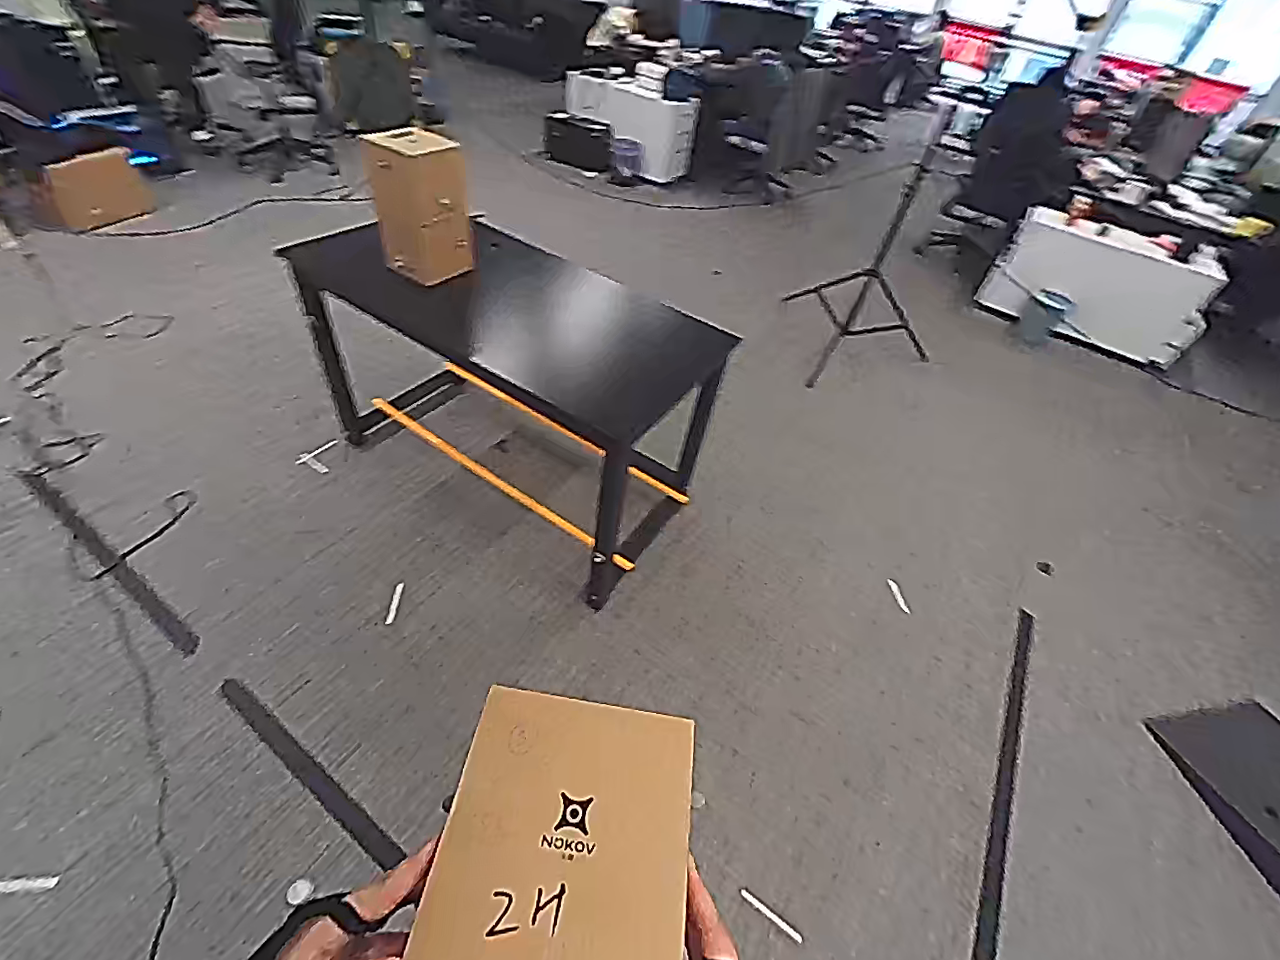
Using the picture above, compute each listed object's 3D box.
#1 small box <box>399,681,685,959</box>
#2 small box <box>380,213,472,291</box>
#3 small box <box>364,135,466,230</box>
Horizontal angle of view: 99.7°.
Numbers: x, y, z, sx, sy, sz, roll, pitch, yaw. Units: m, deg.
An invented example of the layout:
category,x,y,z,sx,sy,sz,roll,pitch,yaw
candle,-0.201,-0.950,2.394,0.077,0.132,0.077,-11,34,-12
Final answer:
category,x,y,z,sx,sy,sz,roll,pitch,yaw
small box,-0.063,0.289,0.428,0.168,0.176,0.179,9,45,0
small box,-0.597,-0.665,1.534,0.168,0.176,0.179,27,48,17
small box,-0.580,-0.777,1.415,0.179,0.176,0.168,27,47,16
